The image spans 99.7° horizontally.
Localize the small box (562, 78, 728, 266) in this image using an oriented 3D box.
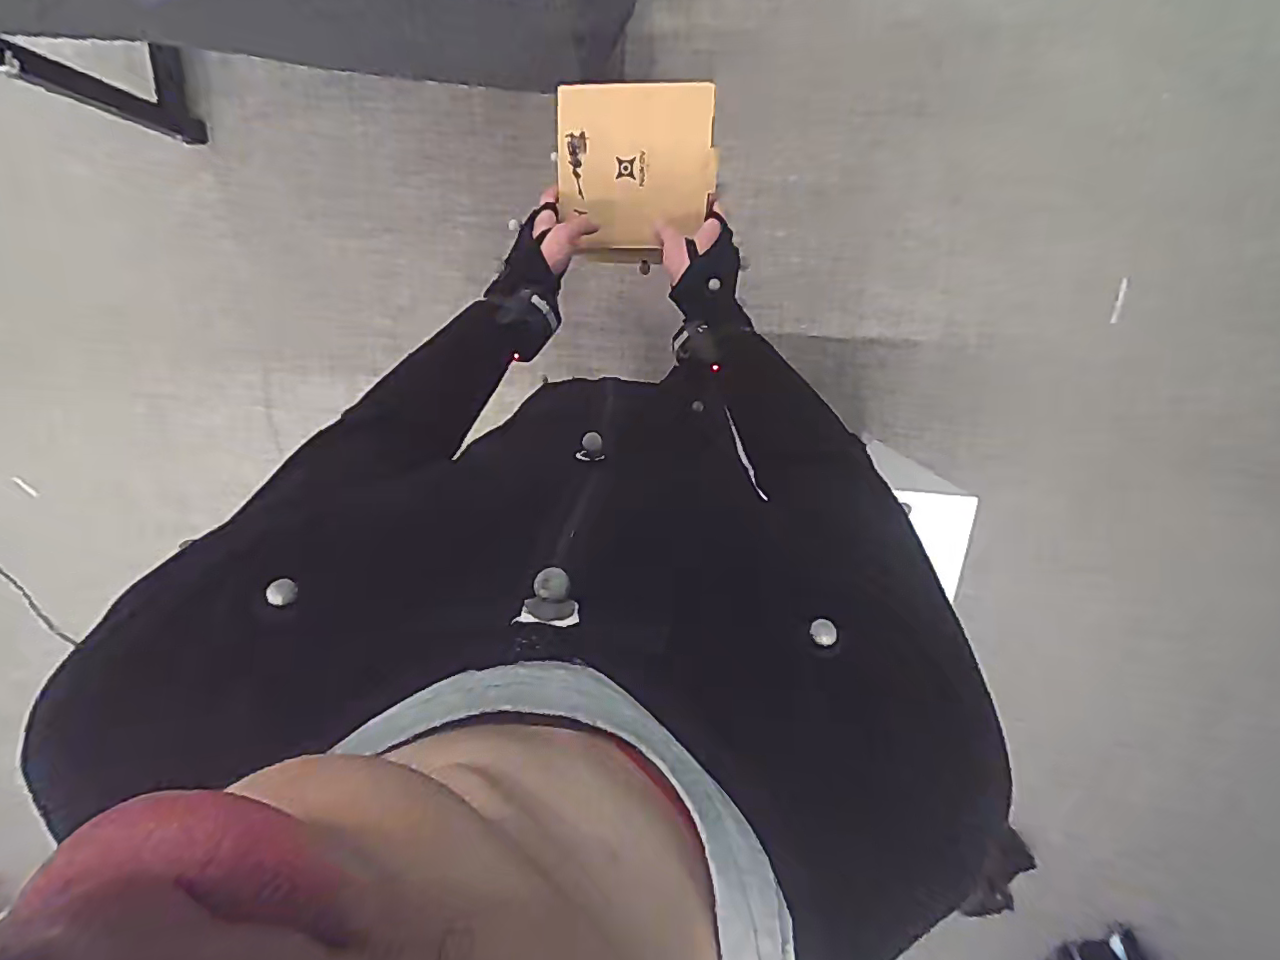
[{"bbox_3d":[0.008,-0.359,0.659,0.179,0.176,0.168,3,106,4],"label":"small box"}]
